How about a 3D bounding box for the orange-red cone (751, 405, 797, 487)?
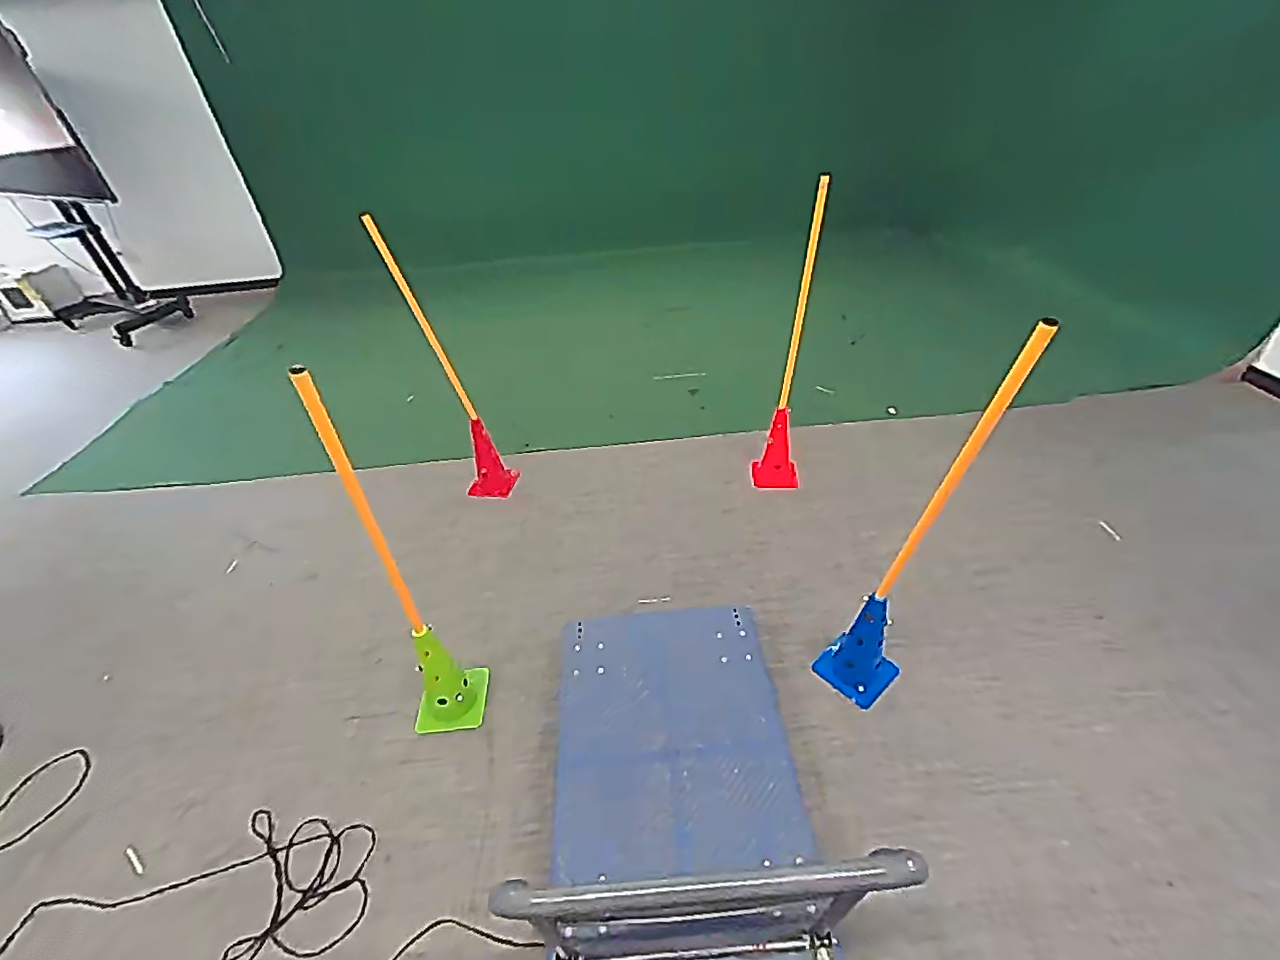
[{"bbox_3d":[0.591,-0.161,2.336,0.198,0.360,0.199,1,40,8],"label":"orange-red cone"}]
